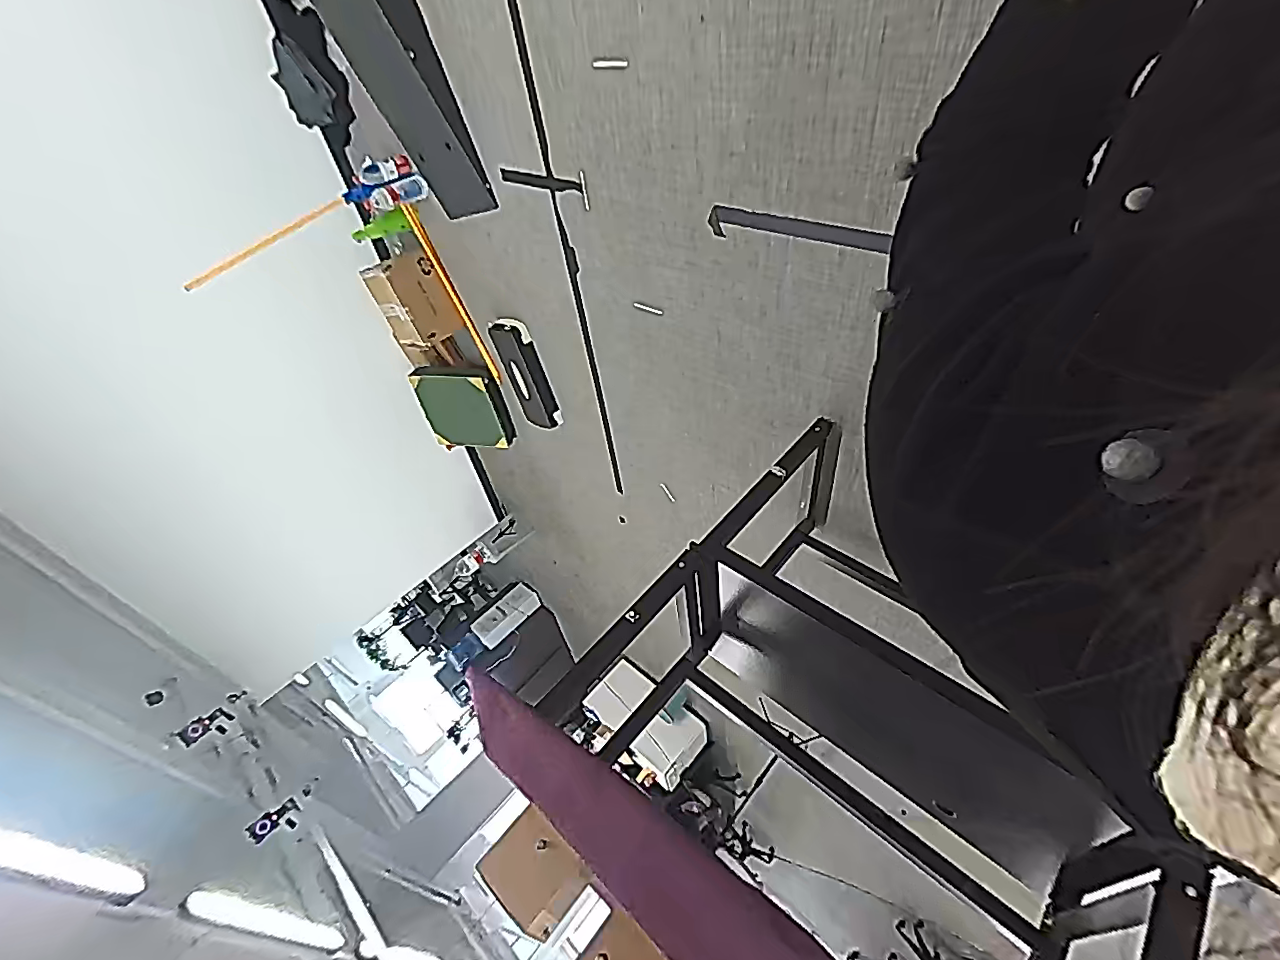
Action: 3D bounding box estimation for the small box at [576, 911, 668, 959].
[{"bbox_3d":[-0.033,1.008,1.081,0.179,0.176,0.168,29,146,32],"label":"small box"}]

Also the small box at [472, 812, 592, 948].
[{"bbox_3d":[-0.234,0.875,1.199,0.179,0.176,0.168,28,146,34],"label":"small box"}]
